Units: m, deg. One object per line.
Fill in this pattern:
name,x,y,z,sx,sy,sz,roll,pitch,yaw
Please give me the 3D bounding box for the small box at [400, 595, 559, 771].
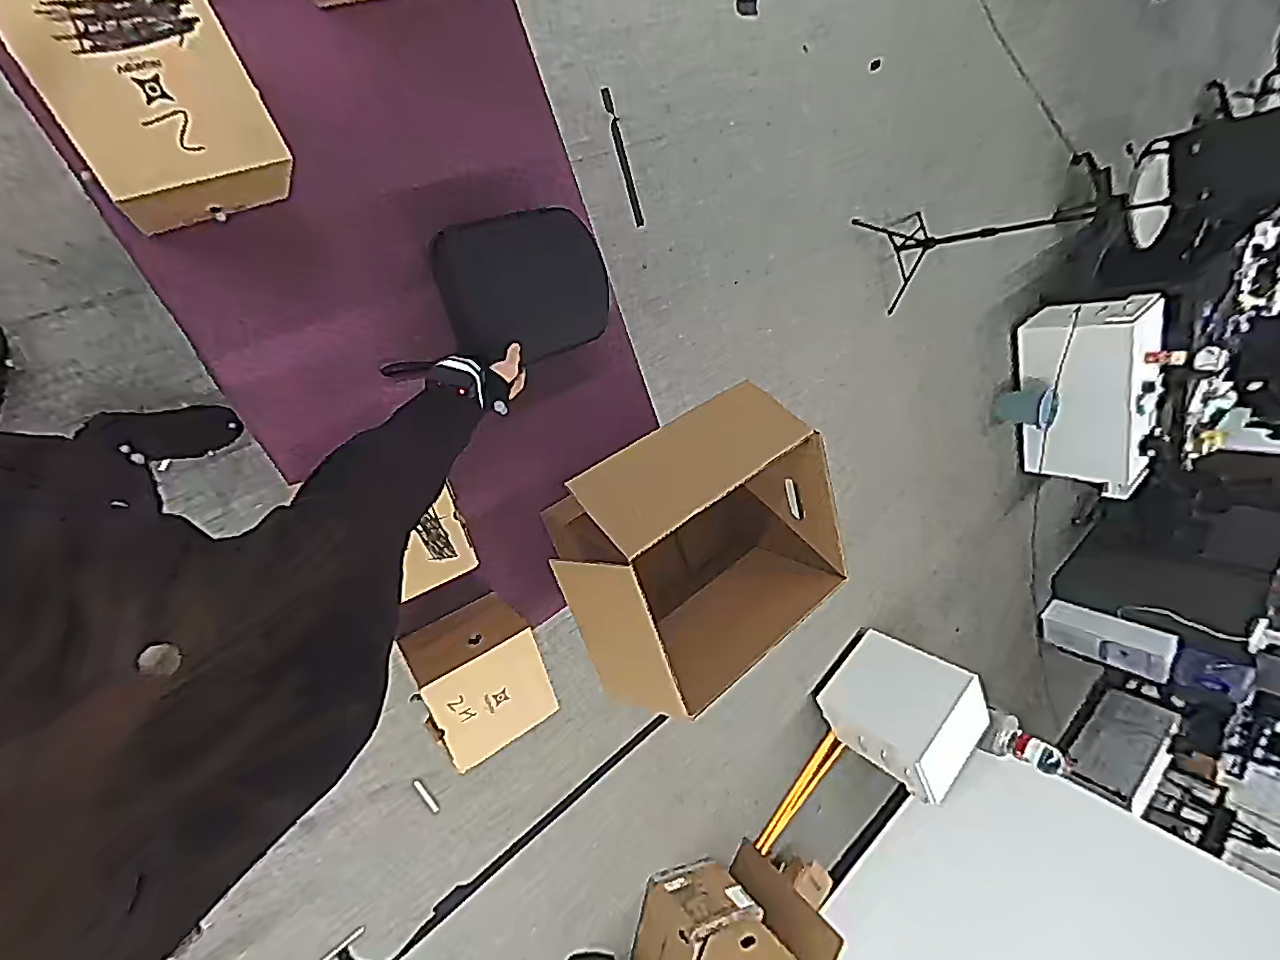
small box,-0.262,0.313,0.878,0.179,0.176,0.168,-25,112,-28
